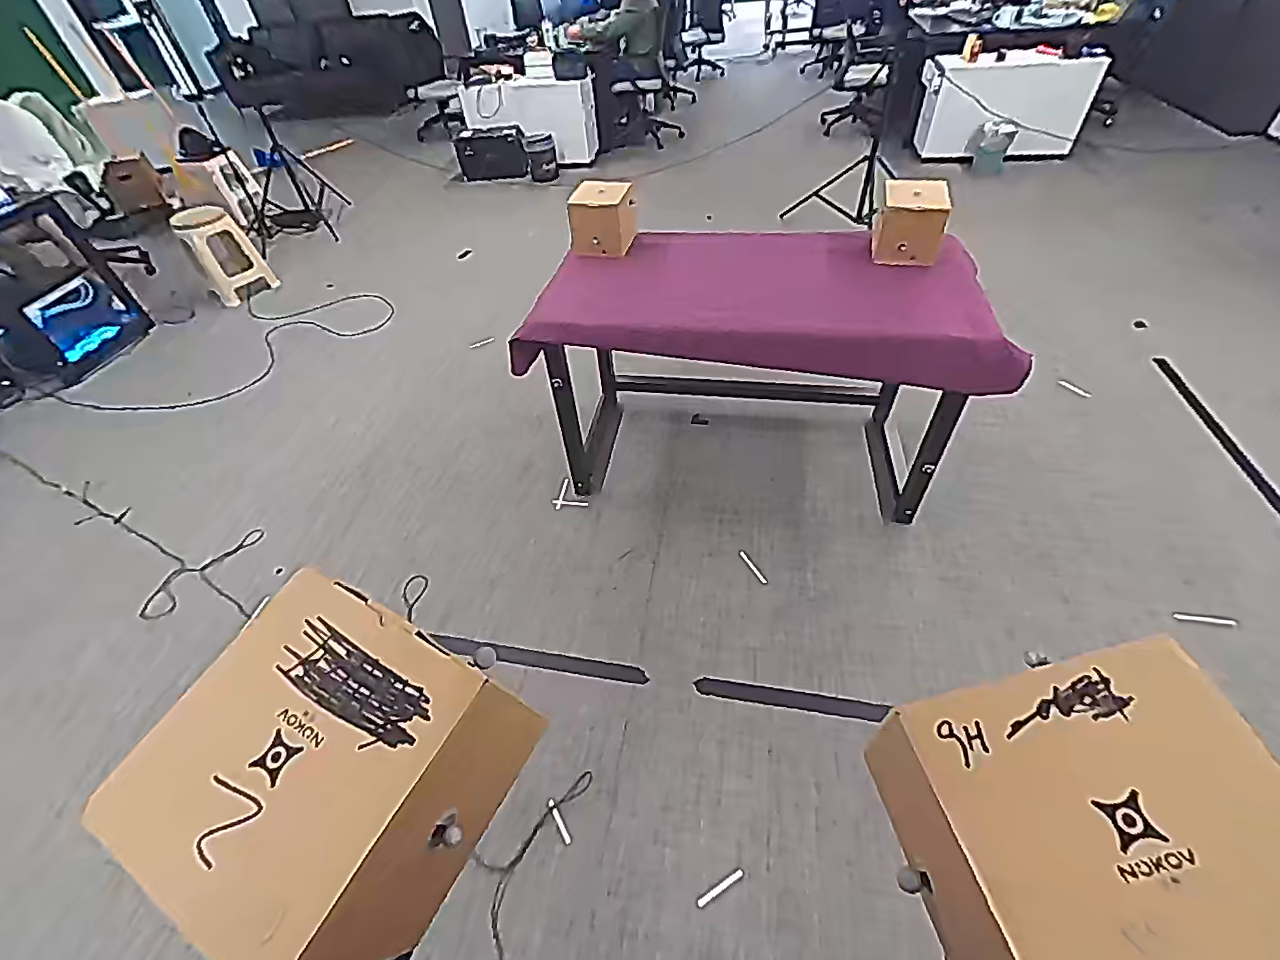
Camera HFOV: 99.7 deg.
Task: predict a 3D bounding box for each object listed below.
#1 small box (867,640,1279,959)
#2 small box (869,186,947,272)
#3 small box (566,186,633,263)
[{"bbox_3d":[0.266,0.227,0.339,0.168,0.176,0.179,-16,54,2],"label":"small box"},{"bbox_3d":[0.775,-0.736,1.583,0.168,0.176,0.179,8,52,13],"label":"small box"},{"bbox_3d":[-0.123,-0.825,1.744,0.168,0.176,0.179,8,50,12],"label":"small box"}]
